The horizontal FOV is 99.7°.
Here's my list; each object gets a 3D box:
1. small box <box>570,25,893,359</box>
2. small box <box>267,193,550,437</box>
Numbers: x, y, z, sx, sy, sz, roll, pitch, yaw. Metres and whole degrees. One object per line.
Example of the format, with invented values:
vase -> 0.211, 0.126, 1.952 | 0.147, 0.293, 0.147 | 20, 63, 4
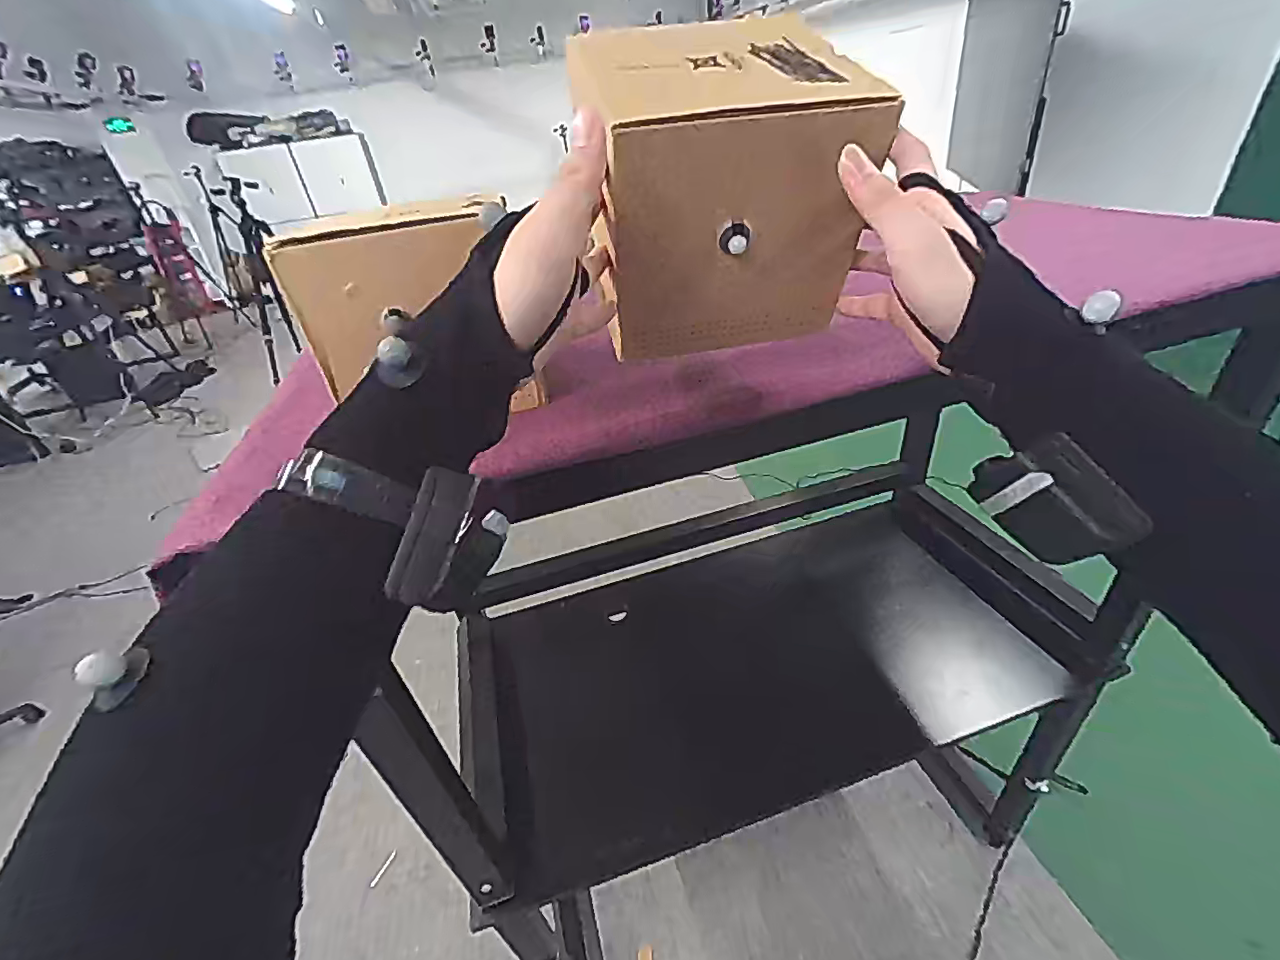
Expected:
small box -> 0.050, -0.217, 0.418 | 0.179, 0.176, 0.168 | -11, 53, -7
small box -> -0.194, -0.158, 0.508 | 0.179, 0.176, 0.168 | -14, 35, -7
